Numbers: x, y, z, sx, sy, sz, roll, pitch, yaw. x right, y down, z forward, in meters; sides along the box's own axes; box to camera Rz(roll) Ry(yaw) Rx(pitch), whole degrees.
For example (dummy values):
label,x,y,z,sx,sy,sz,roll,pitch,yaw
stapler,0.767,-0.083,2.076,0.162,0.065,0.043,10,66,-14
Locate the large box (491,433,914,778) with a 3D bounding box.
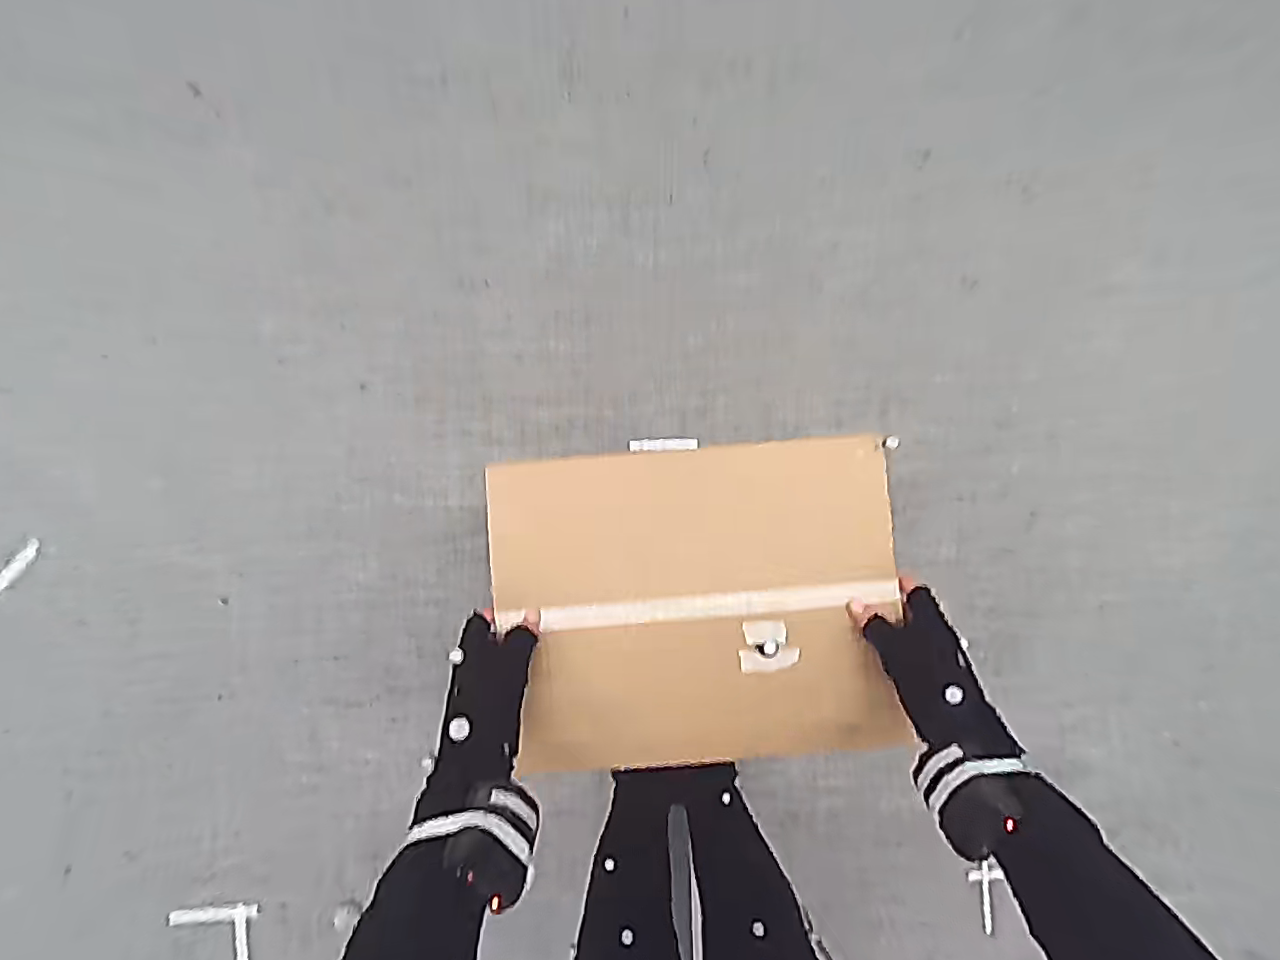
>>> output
label,x,y,z,sx,sy,sz,roll,pitch,yaw
large box,0.060,0.130,0.689,0.408,0.320,0.320,-5,89,0
